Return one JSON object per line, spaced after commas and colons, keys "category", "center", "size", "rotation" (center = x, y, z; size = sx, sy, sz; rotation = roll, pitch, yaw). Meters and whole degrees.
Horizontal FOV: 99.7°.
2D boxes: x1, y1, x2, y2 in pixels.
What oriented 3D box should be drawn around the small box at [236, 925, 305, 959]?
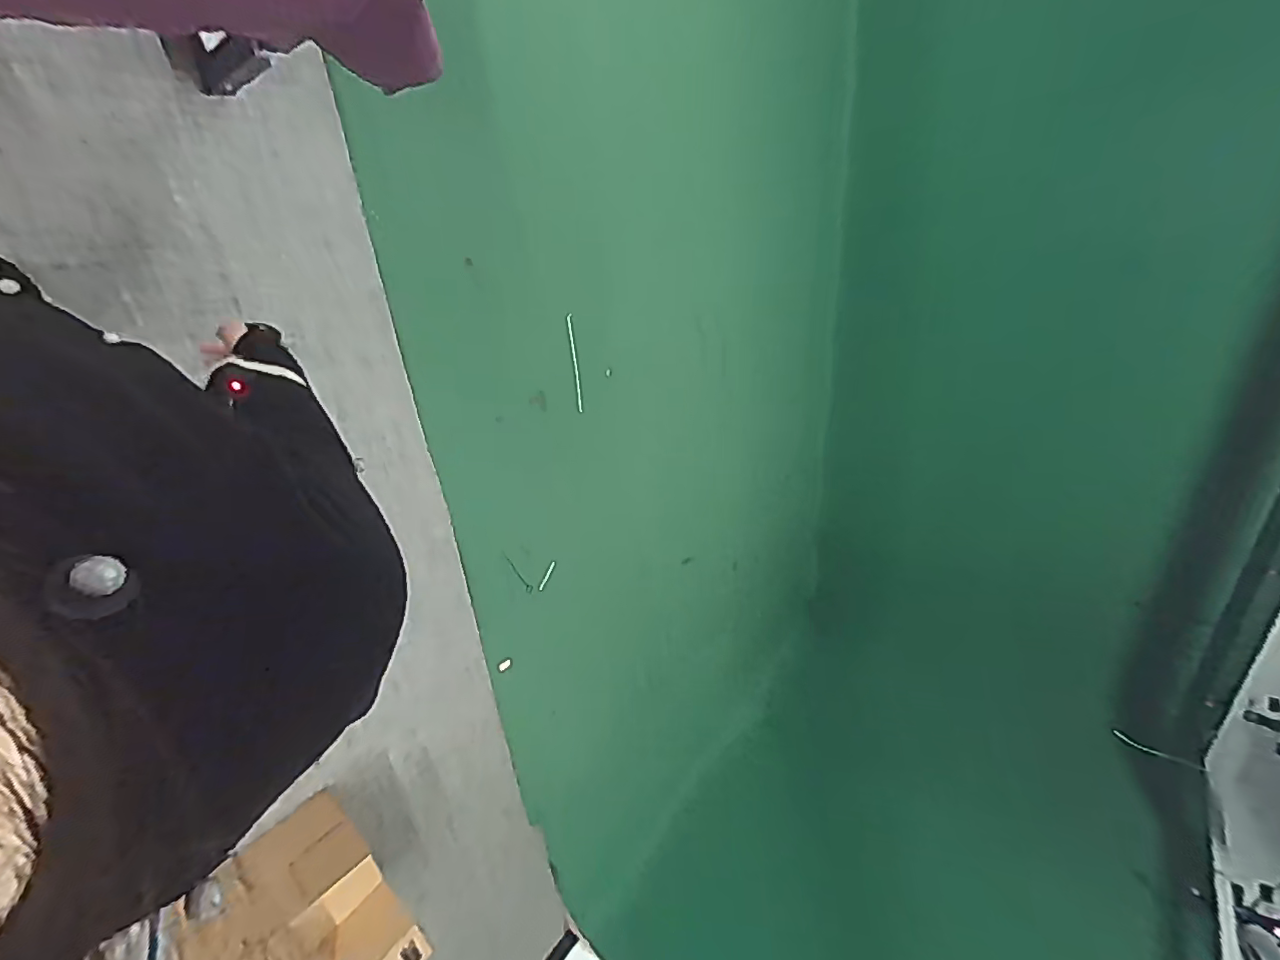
{"category": "small box", "center": [-0.856, 1.188, 1.231], "size": [0.179, 0.176, 0.168], "rotation": [-29, 125, -42]}
